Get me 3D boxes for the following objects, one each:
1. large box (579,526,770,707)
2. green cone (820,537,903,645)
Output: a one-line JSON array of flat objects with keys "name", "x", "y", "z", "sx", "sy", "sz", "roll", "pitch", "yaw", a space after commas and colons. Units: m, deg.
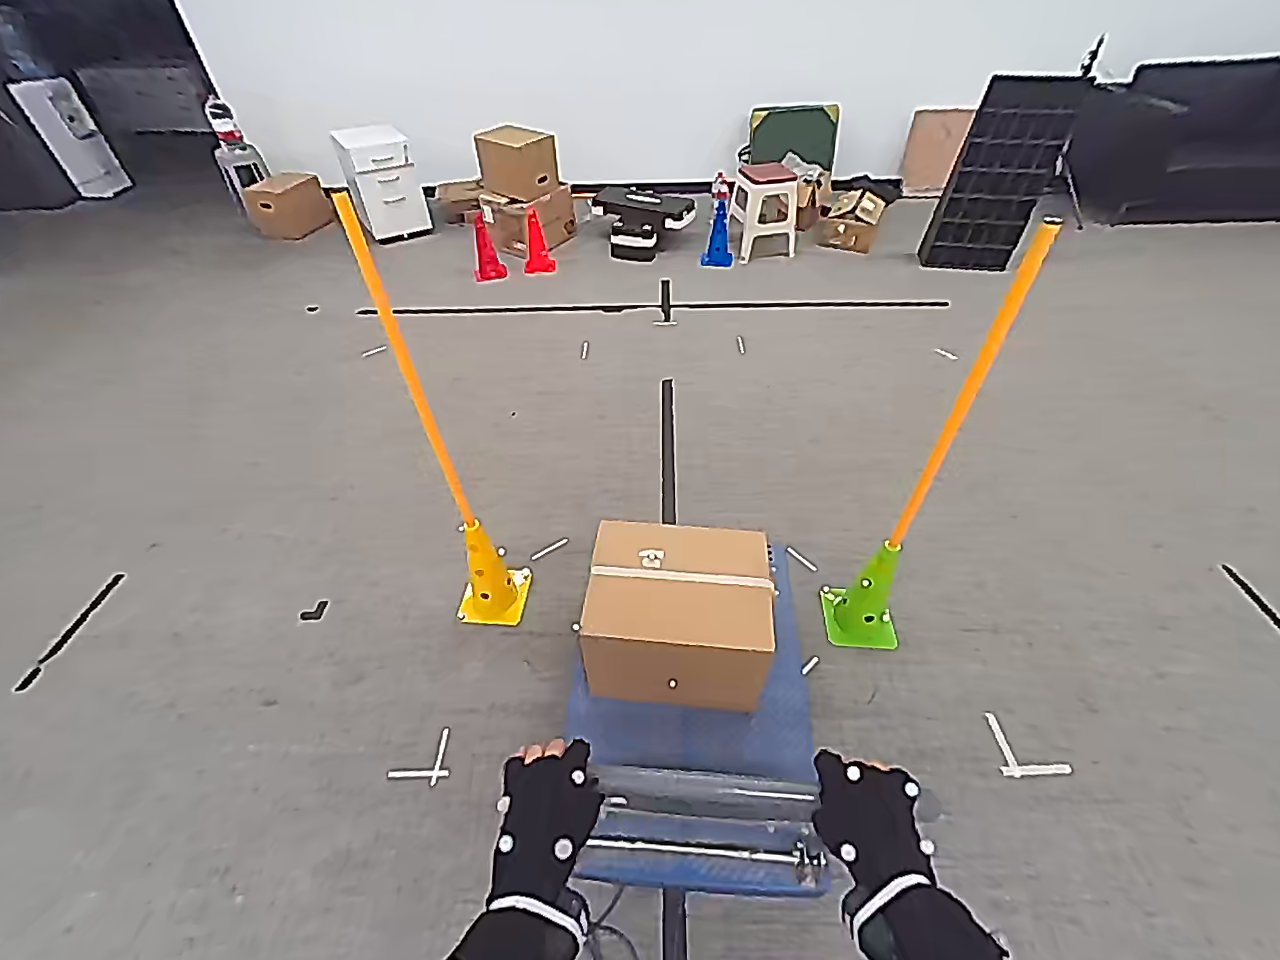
[{"name": "large box", "x": 0.089, "y": 0.335, "z": 1.323, "sx": 0.408, "sy": 0.320, "sz": 0.320, "roll": 3, "pitch": 45, "yaw": 6}, {"name": "green cone", "x": 0.667, "y": 0.293, "z": 1.549, "sx": 0.202, "sy": 0.368, "sz": 0.200, "roll": 3, "pitch": 45, "yaw": 3}]
